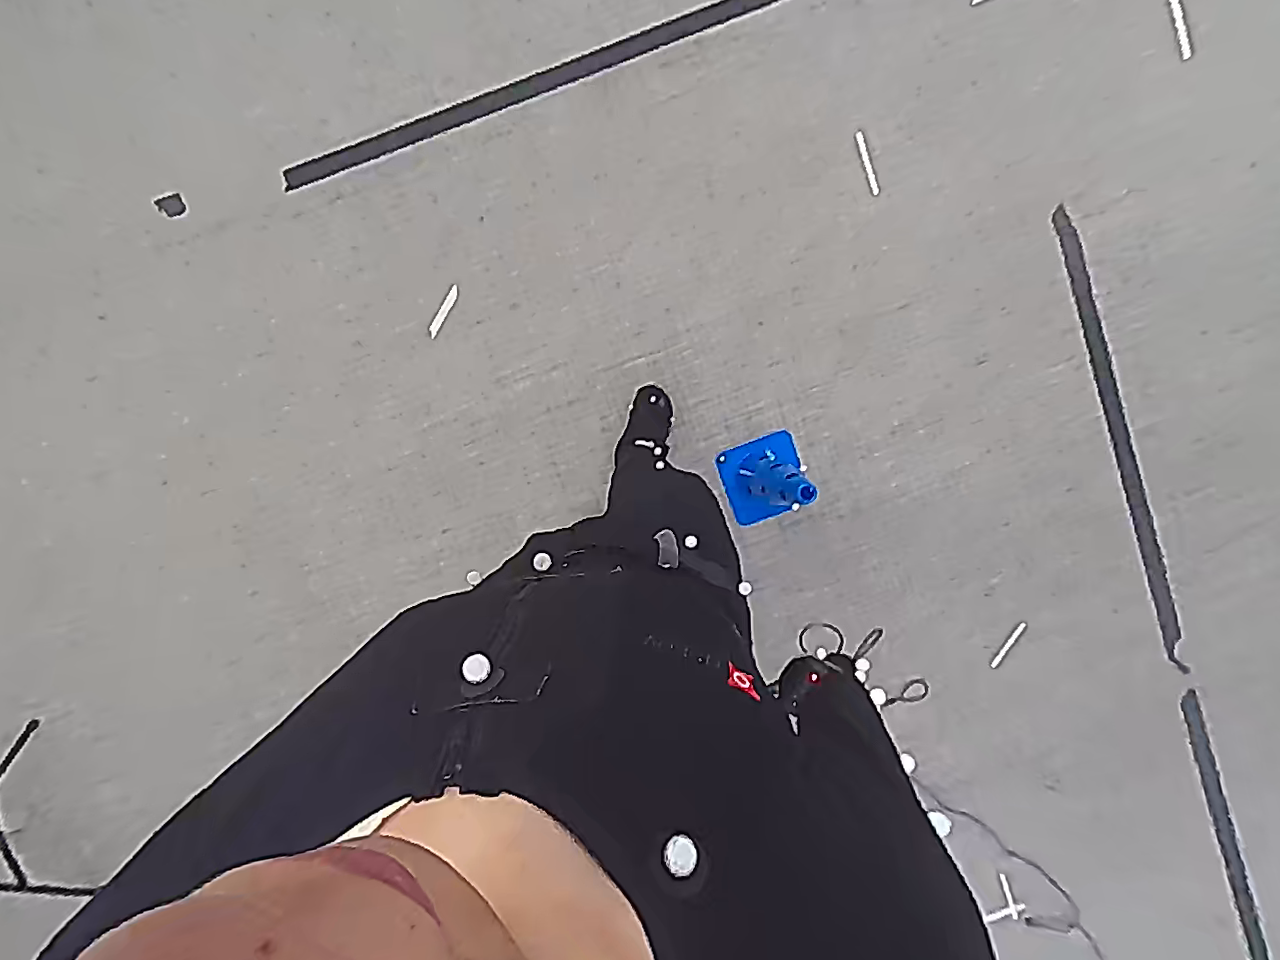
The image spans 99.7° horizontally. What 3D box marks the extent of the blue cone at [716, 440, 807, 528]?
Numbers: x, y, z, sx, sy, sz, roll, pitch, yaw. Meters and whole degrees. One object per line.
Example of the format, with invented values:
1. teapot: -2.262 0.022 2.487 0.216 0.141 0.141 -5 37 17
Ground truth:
1. blue cone: 0.301 0.023 1.178 0.192 0.380 0.193 -19 94 2
